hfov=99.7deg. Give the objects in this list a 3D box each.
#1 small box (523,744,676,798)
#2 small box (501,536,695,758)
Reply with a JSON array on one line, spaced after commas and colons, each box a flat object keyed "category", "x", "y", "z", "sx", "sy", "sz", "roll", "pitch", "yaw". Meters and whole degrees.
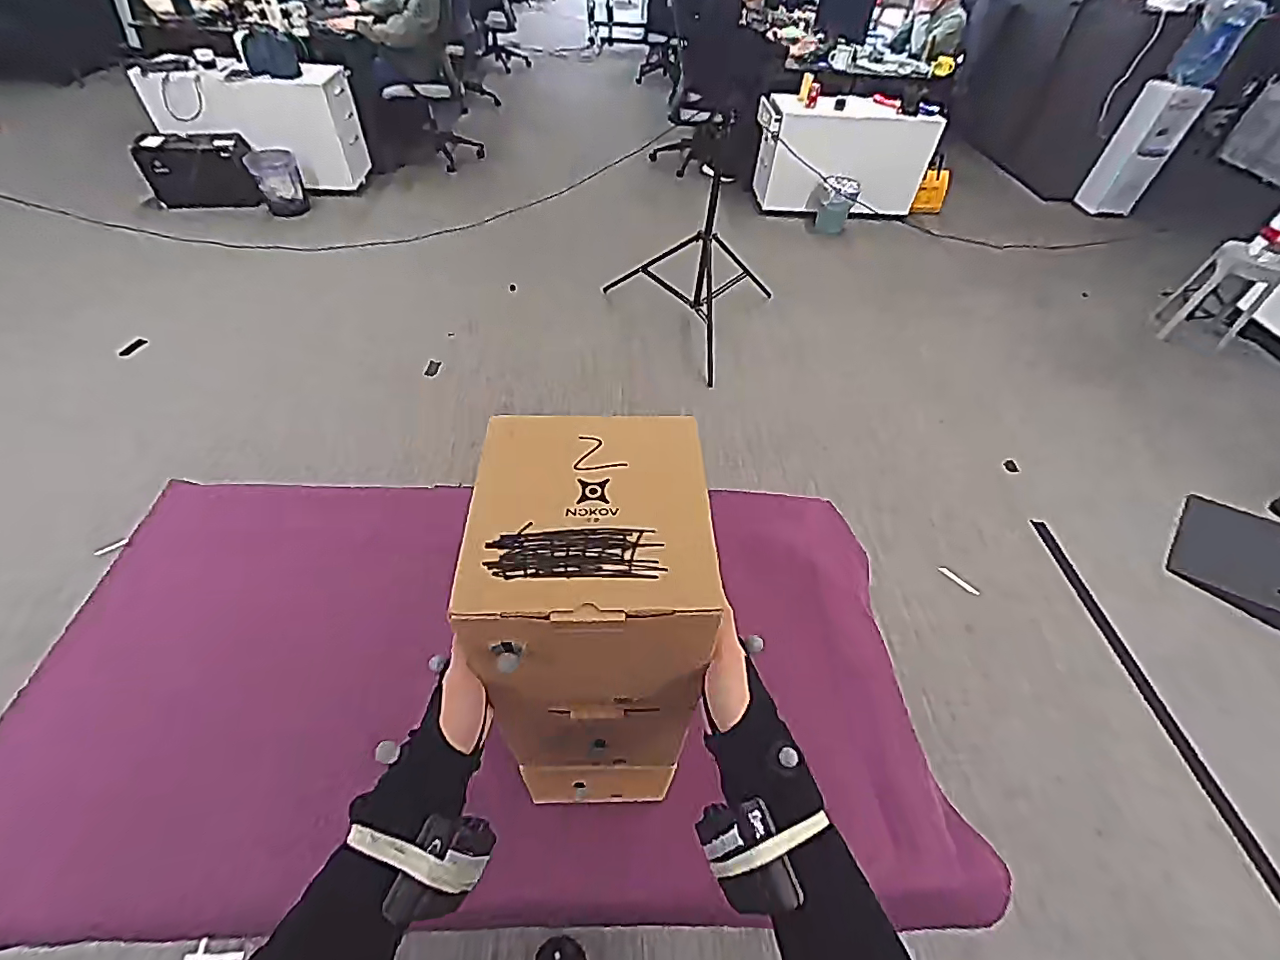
[{"category": "small box", "x": -0.046, "y": 0.288, "z": 0.679, "sx": 0.168, "sy": 0.176, "sz": 0.179, "roll": 1, "pitch": 48, "yaw": -3}, {"category": "small box", "x": -0.037, "y": 0.177, "z": 0.560, "sx": 0.168, "sy": 0.176, "sz": 0.179, "roll": 1, "pitch": 49, "yaw": -3}]
